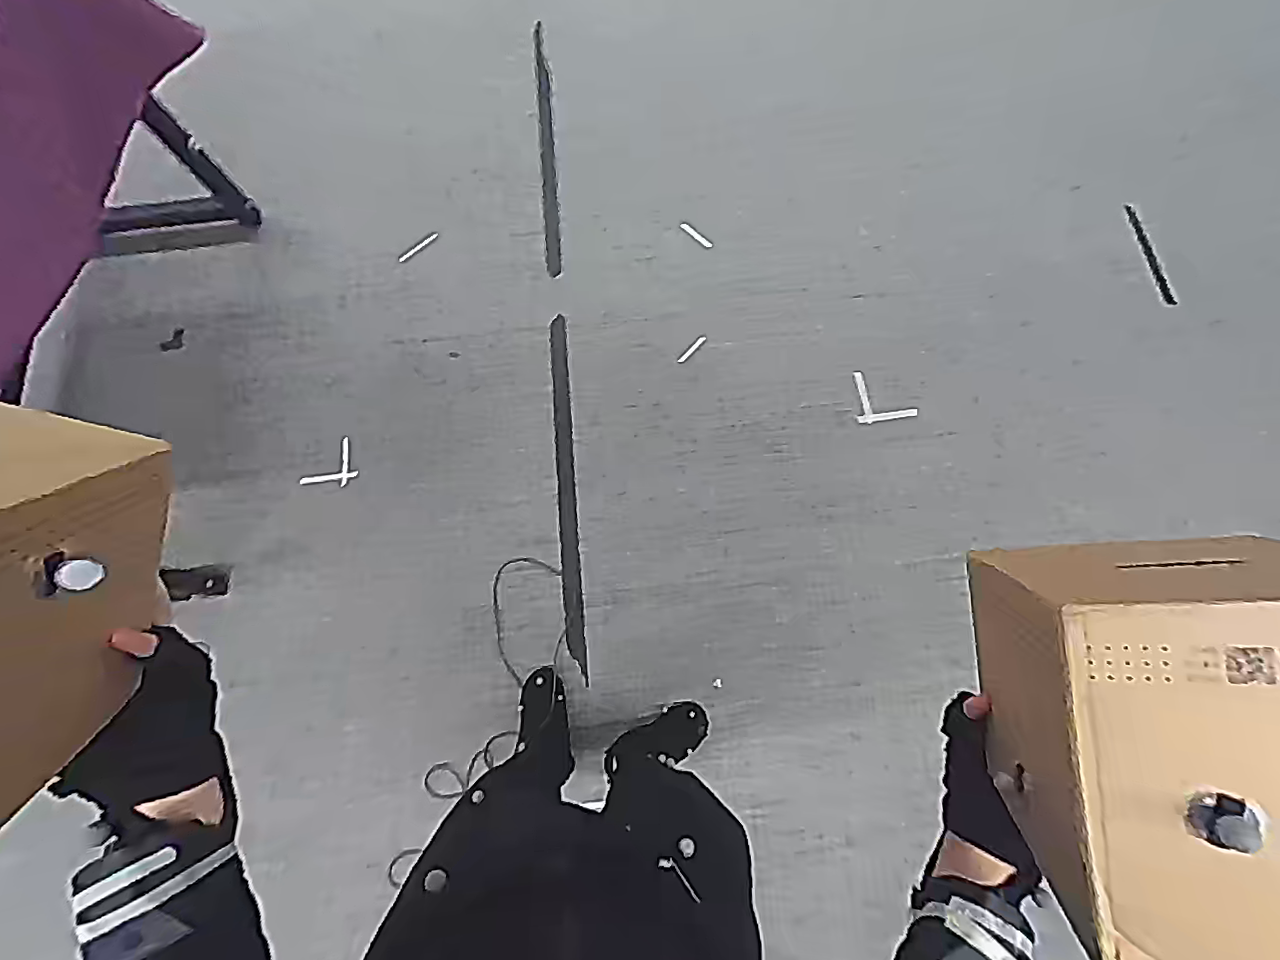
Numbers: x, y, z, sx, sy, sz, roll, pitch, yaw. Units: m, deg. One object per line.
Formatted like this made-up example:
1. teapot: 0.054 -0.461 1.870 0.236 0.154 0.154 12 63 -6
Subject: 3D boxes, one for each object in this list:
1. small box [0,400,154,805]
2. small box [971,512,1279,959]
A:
1. small box: -0.345 0.052 0.213 0.168 0.179 0.176 15 101 -17
2. small box: 0.288 0.112 0.280 0.168 0.179 0.176 -5 90 19
